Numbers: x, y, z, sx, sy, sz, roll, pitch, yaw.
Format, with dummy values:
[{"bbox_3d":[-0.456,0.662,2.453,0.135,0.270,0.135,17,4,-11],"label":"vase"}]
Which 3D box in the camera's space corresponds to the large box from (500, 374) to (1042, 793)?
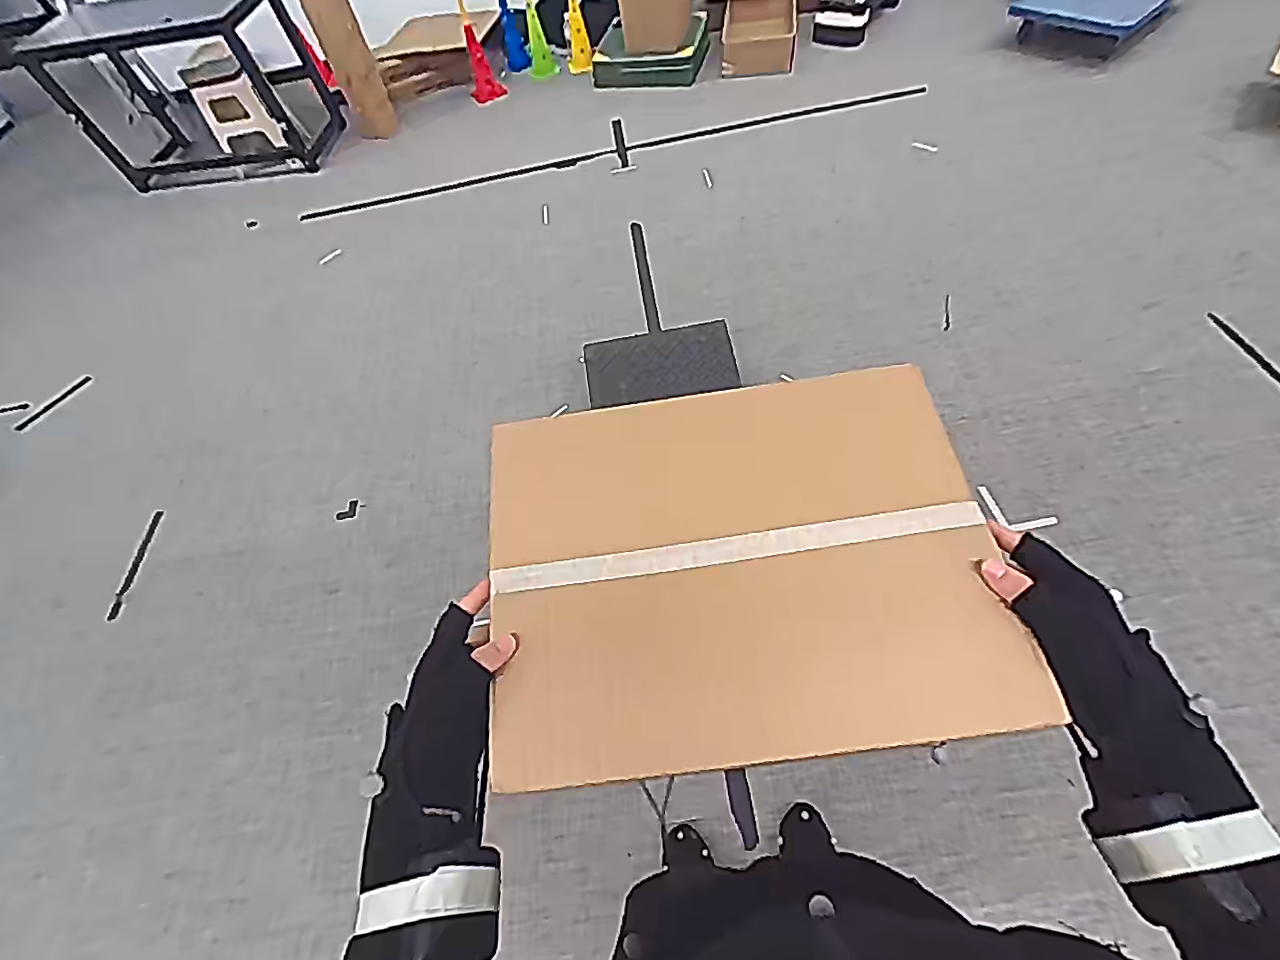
[{"bbox_3d":[0.094,0.127,0.591,0.408,0.320,0.320,-9,63,2],"label":"large box"}]
